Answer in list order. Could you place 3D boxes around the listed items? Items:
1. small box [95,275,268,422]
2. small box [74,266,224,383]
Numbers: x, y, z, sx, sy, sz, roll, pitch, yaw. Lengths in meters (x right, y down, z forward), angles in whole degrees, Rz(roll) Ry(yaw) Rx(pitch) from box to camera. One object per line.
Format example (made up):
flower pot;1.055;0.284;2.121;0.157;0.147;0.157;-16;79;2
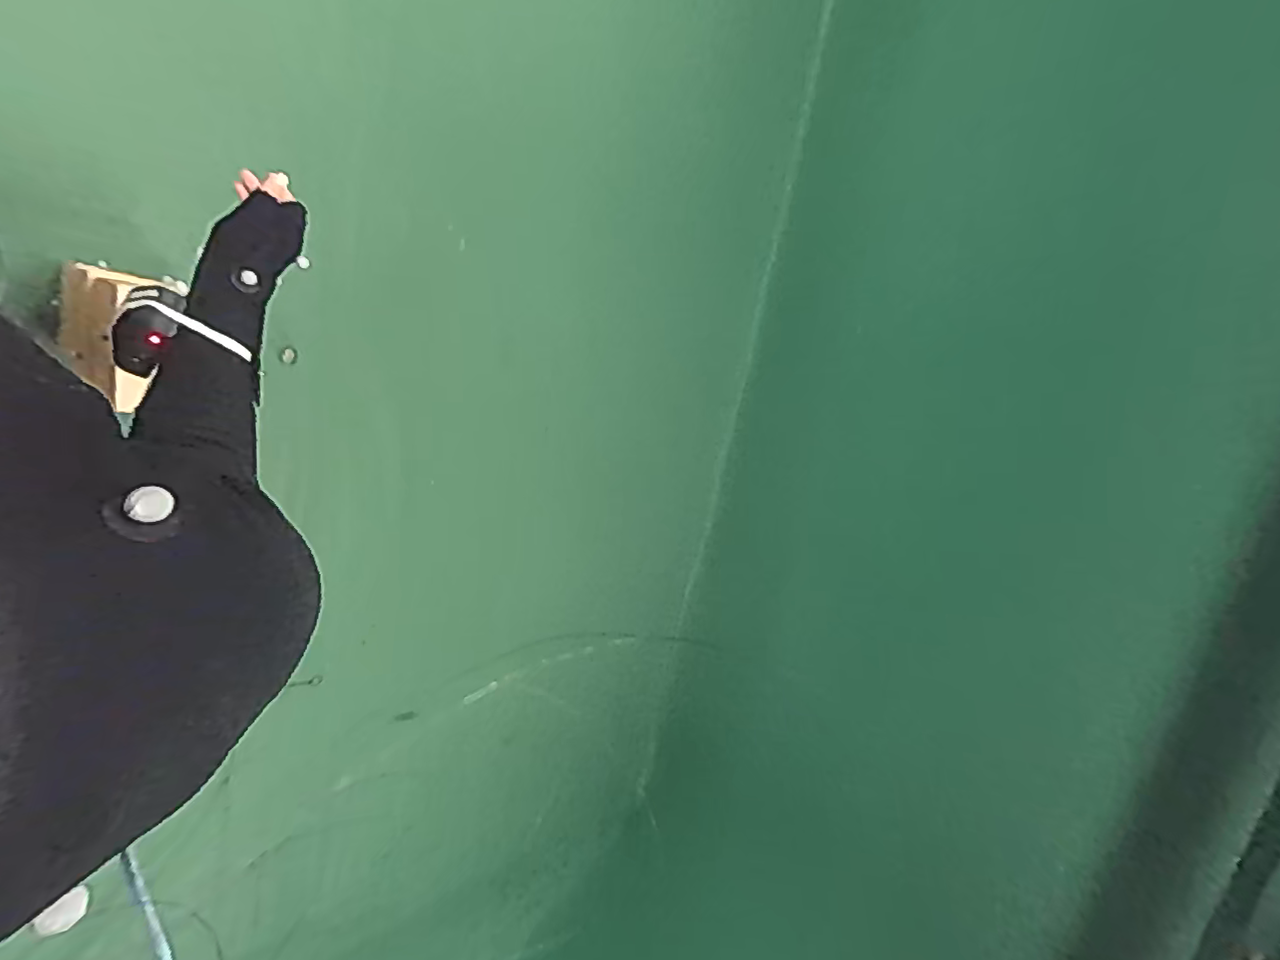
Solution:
small box;-0.712;-0.202;0.838;0.168;0.176;0.179;2;105;-54
small box;-0.843;-0.256;0.927;0.168;0.176;0.179;0;107;-51
